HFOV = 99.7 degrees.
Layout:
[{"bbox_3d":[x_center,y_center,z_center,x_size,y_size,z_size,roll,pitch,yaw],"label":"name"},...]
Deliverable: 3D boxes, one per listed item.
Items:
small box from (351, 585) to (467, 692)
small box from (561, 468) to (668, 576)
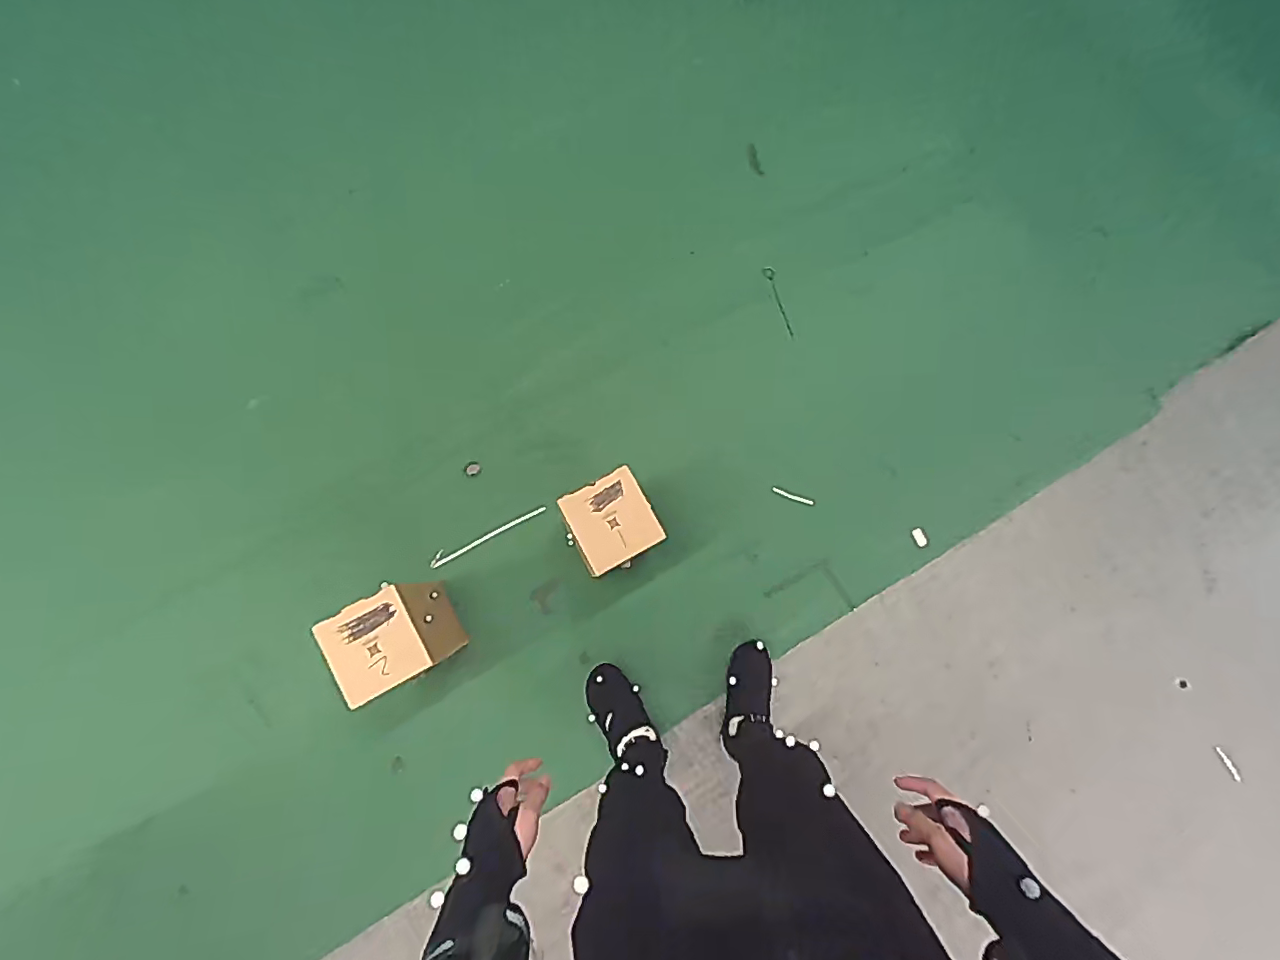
[{"bbox_3d":[-0.522,0.355,1.248,0.168,0.176,0.179,-28,83,-10],"label":"small box"},{"bbox_3d":[-0.061,0.099,1.175,0.168,0.176,0.179,-27,84,-11],"label":"small box"}]
